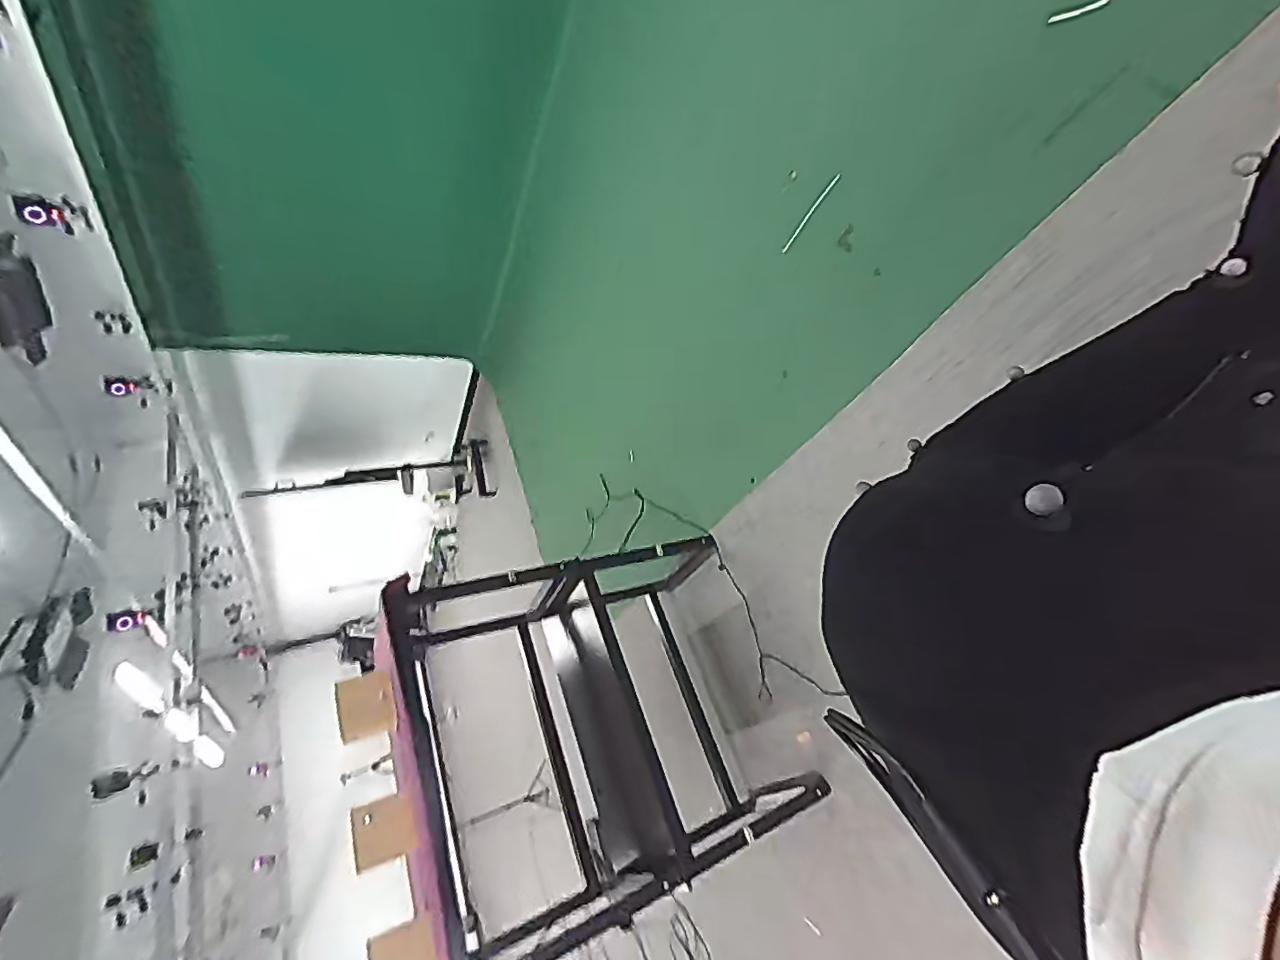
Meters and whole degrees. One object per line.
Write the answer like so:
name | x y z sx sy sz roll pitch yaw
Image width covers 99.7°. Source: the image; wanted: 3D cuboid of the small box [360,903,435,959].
small box | -0.671 1.312 1.495 0.168 0.176 0.179 -57 47 45

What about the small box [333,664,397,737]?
small box | -0.919 0.729 1.803 0.168 0.176 0.179 -55 49 49

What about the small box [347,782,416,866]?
small box | -0.791 1.042 1.647 0.168 0.176 0.179 -54 51 49
